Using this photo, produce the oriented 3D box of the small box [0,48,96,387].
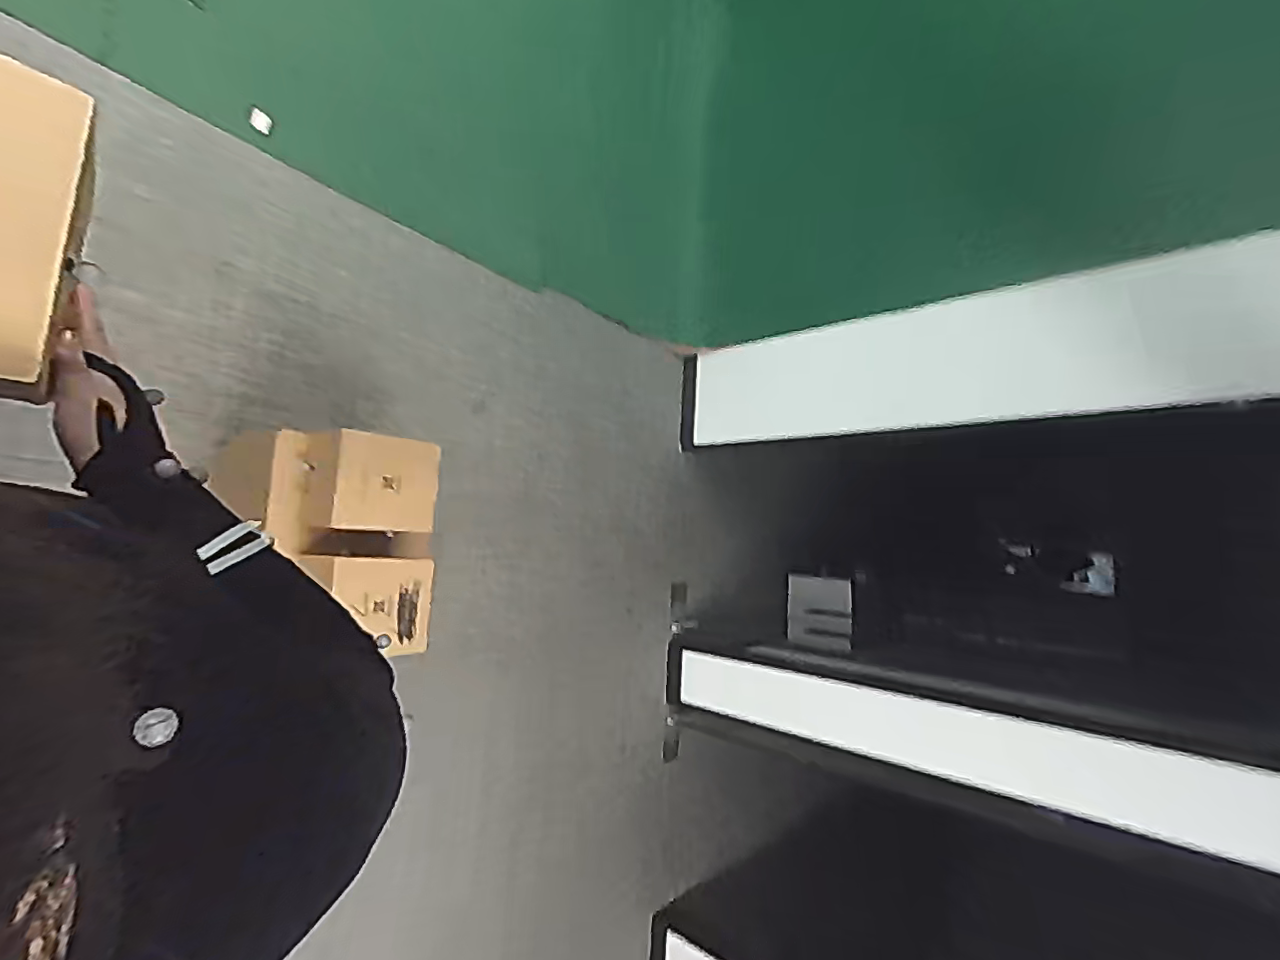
[{"bbox_3d":[-0.447,-0.160,0.311,0.168,0.176,0.179,10,86,-47],"label":"small box"}]
